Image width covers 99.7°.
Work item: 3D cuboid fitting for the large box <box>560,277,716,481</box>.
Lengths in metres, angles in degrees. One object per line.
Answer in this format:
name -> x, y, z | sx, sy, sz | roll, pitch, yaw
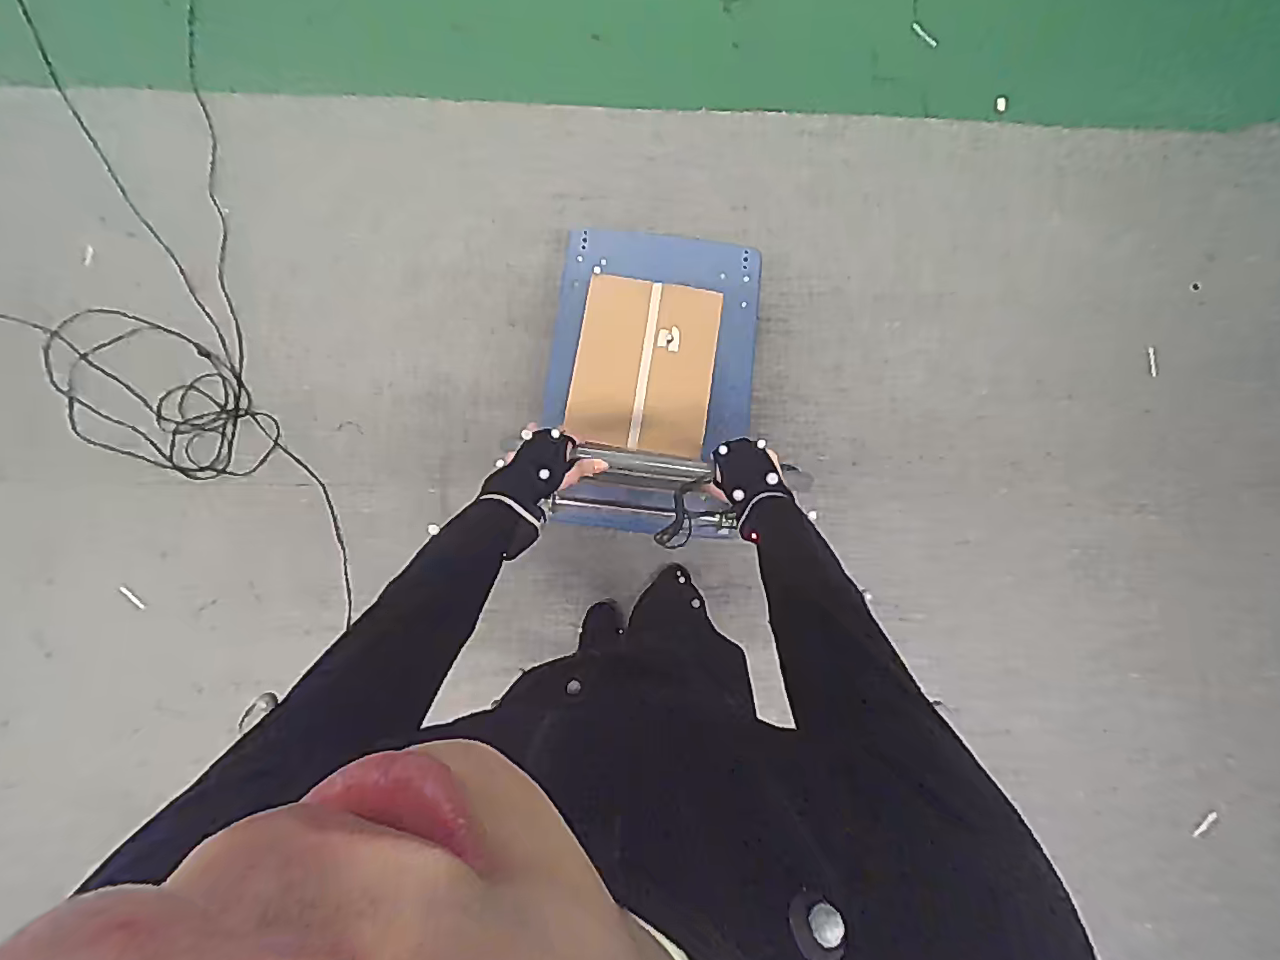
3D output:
large box -> -0.005, -0.233, 1.374 | 0.320, 0.320, 0.408 | 9, 79, -1
